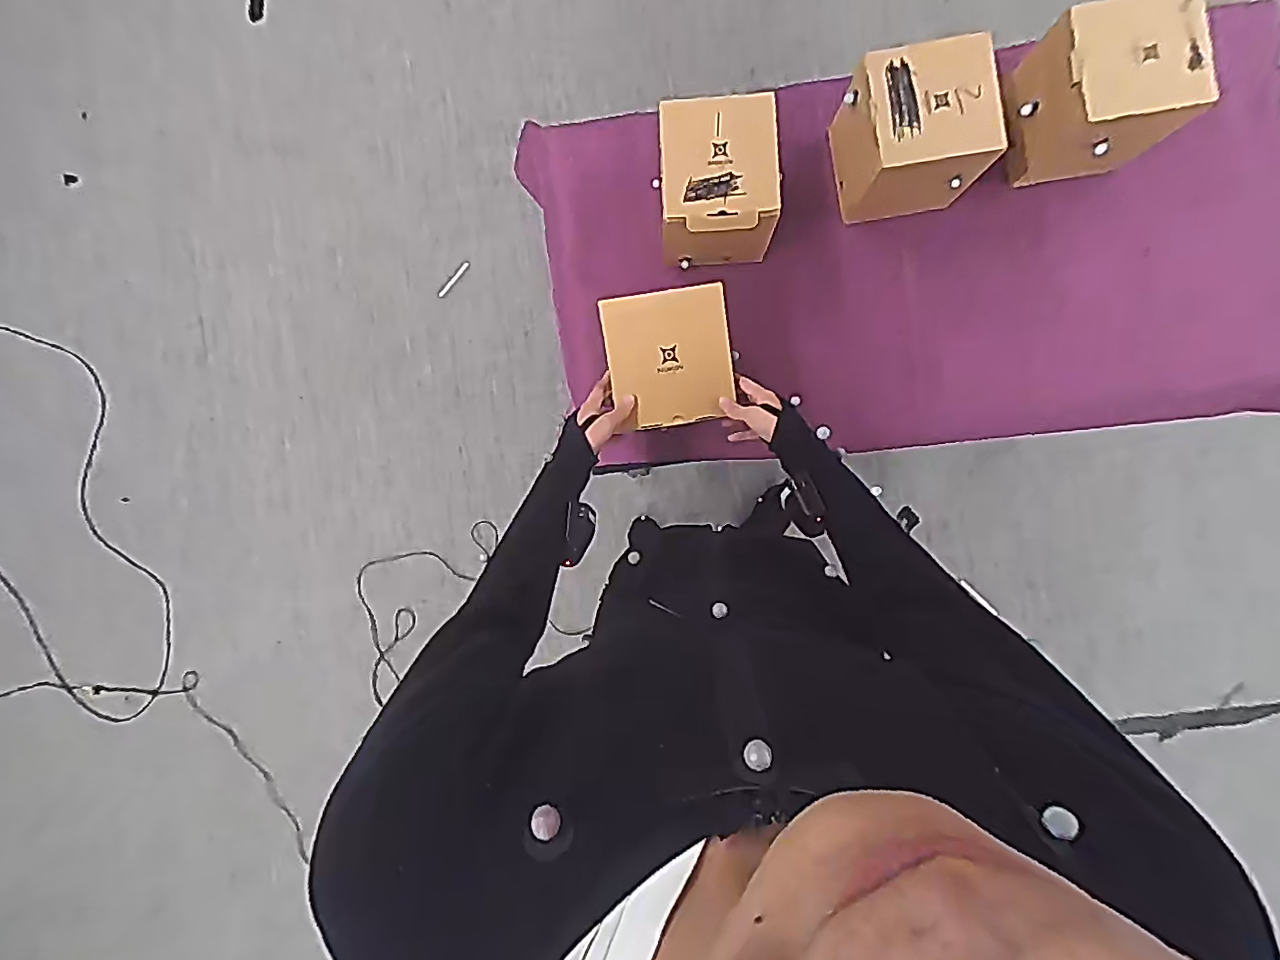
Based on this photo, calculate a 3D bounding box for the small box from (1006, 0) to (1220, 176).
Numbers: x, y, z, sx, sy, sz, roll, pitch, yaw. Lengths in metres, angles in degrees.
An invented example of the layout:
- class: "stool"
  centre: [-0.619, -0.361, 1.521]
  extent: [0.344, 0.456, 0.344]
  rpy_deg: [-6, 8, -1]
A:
- class: "small box"
  centre: [0.677, -0.583, 0.801]
  extent: [0.179, 0.176, 0.168]
  rpy_deg: [-8, 91, 4]

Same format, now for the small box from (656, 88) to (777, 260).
- class: "small box"
  centre: [0.112, -0.456, 0.835]
  extent: [0.168, 0.176, 0.179]
  rpy_deg: [-3, 89, 3]

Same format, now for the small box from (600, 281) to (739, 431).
- class: "small box"
  centre: [0.037, -0.172, 0.786]
  extent: [0.168, 0.176, 0.179]
  rpy_deg: [-10, 99, 0]
